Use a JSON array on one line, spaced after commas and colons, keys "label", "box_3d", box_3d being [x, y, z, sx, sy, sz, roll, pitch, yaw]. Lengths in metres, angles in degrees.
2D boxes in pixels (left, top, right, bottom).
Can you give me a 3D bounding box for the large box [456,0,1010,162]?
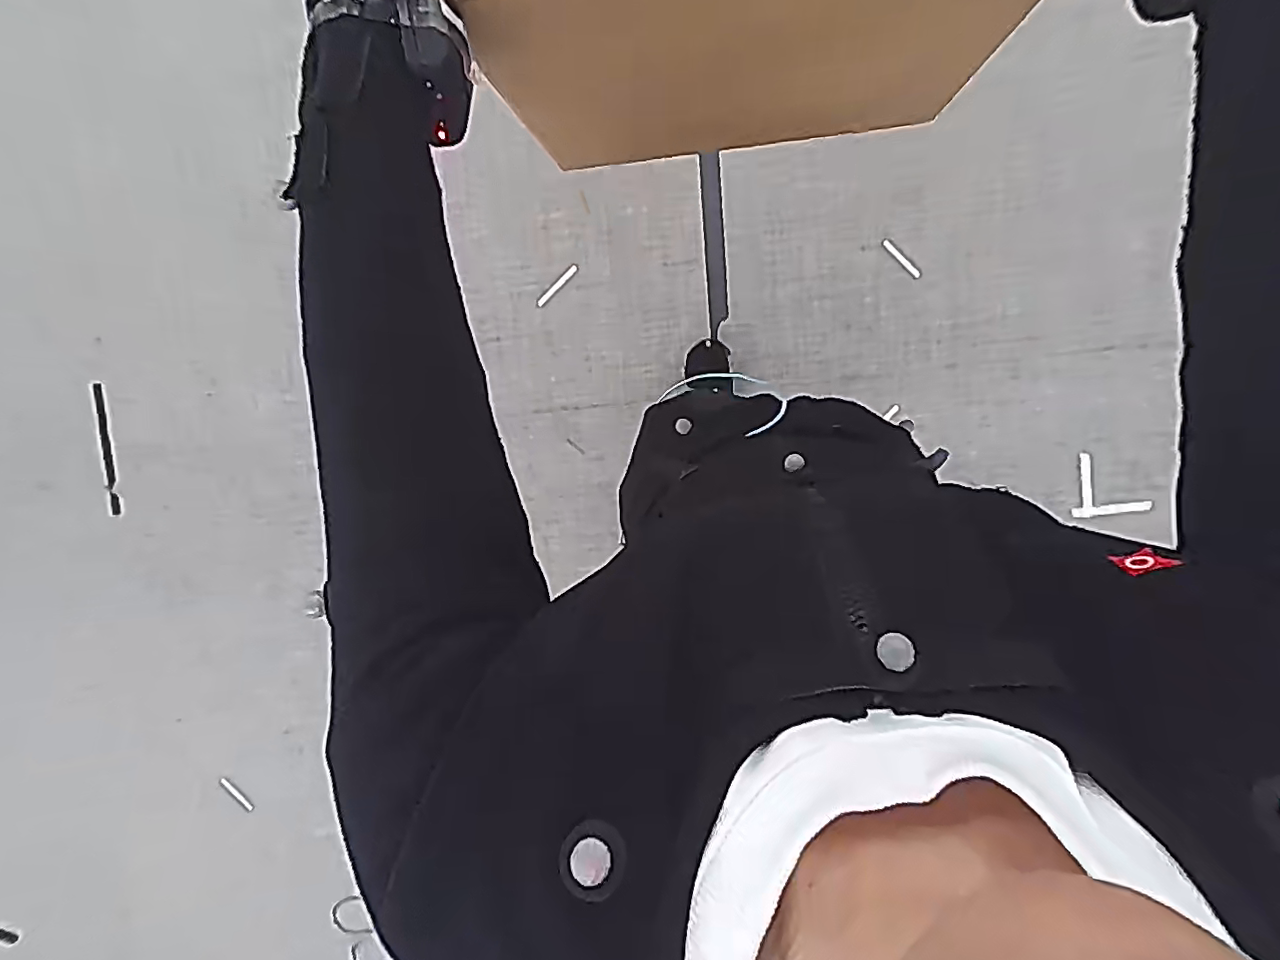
[{"label": "large box", "box_3d": [0.073, -0.495, 0.424, 0.408, 0.320, 0.320, -4, 102, 8]}]
